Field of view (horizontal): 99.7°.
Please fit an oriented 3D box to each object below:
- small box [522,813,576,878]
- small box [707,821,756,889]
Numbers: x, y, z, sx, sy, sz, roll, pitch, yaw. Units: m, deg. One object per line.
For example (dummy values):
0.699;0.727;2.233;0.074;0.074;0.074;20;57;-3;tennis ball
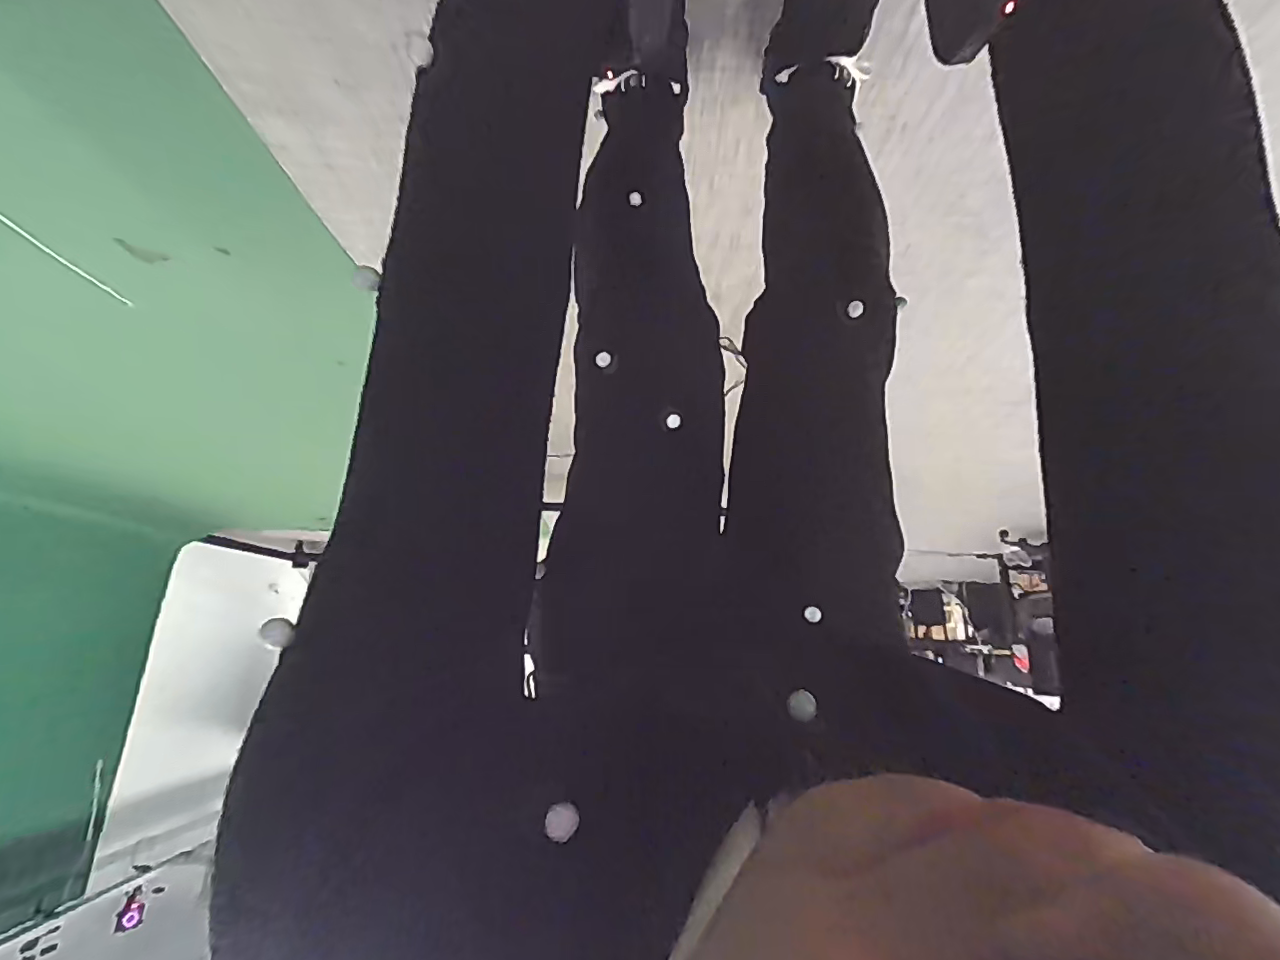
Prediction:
-0.353;1.427;2.121;0.179;0.176;0.168;2;165;2;small box
0.351;1.445;2.093;0.179;0.176;0.168;2;163;5;small box
